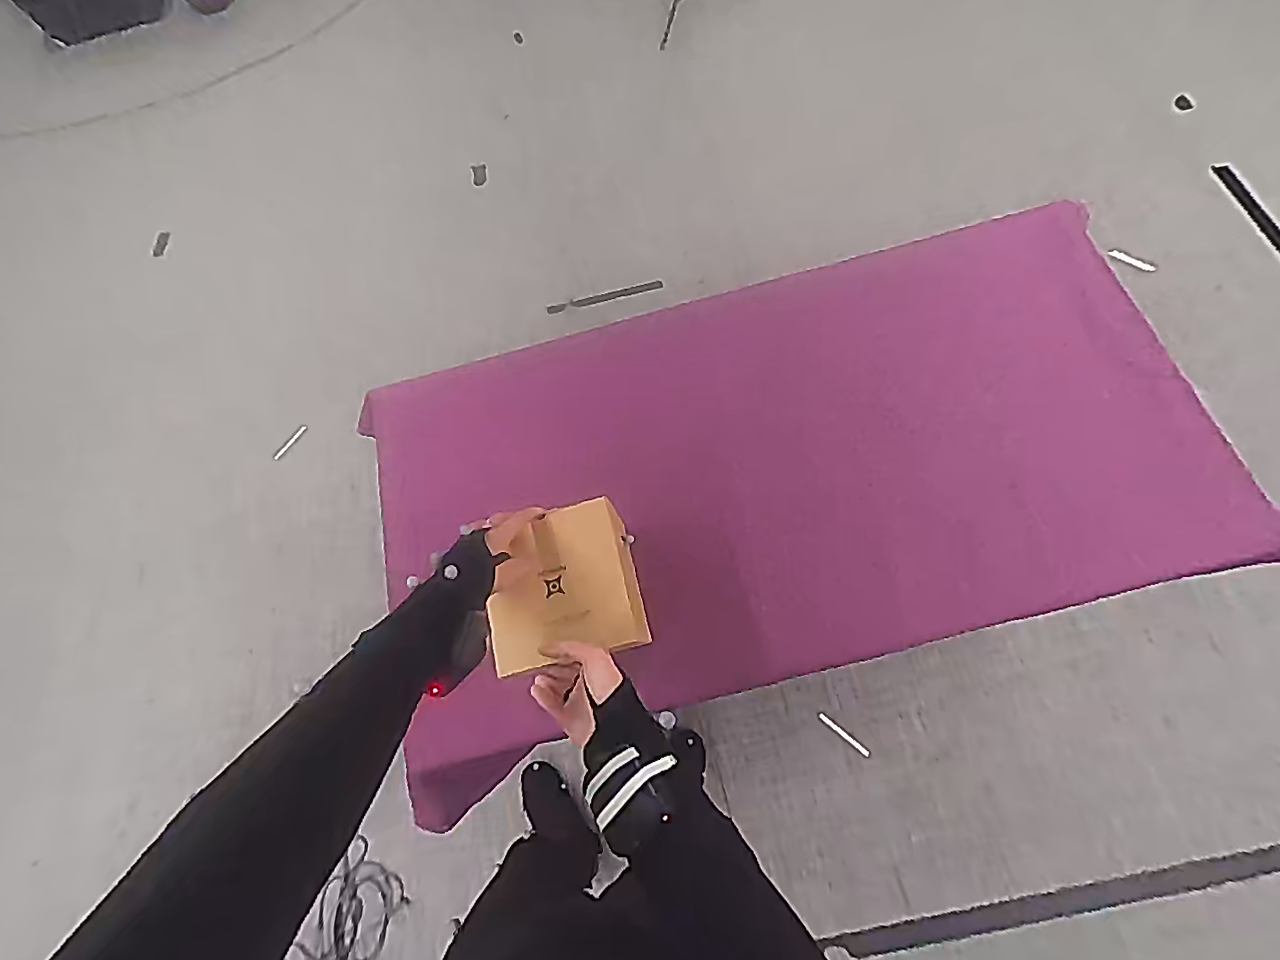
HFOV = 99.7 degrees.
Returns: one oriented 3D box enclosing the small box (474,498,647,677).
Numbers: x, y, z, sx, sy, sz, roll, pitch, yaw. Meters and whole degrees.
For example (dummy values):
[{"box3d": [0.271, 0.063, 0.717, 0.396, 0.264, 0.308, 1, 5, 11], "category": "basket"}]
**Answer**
[{"box3d": [-0.094, 0.143, 0.693, 0.168, 0.176, 0.179, -15, 72, 3], "category": "small box"}]
